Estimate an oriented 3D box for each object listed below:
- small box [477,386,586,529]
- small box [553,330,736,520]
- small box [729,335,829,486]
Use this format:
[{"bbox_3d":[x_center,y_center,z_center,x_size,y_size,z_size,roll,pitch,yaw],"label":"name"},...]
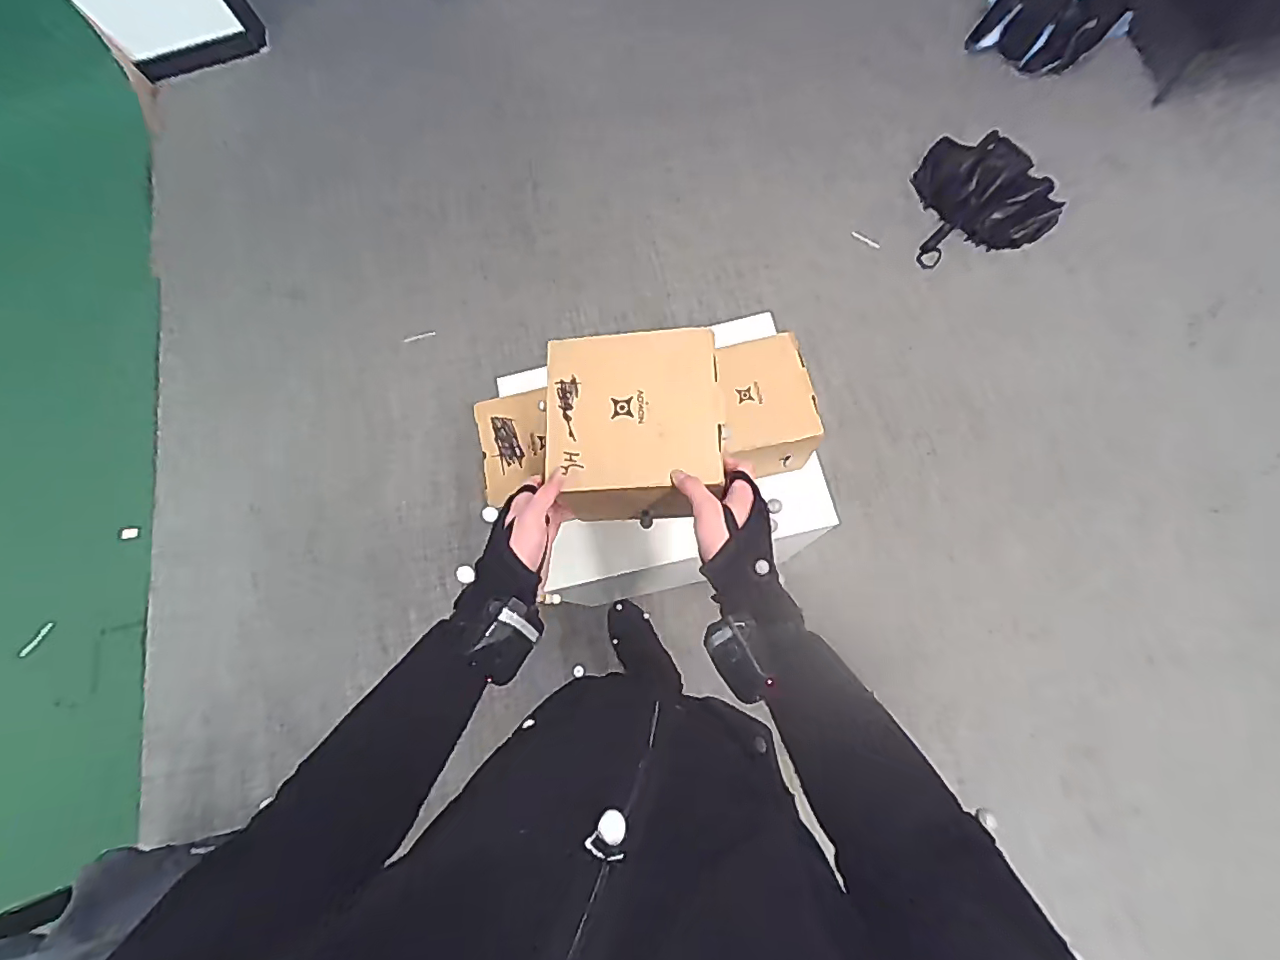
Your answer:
[{"bbox_3d":[-0.130,-0.030,0.829,0.179,0.176,0.168,-12,75,-1],"label":"small box"},{"bbox_3d":[0.008,-0.050,0.605,0.179,0.176,0.168,-2,76,4],"label":"small box"},{"bbox_3d":[0.164,-0.093,0.827,0.179,0.176,0.168,-12,74,2],"label":"small box"}]
